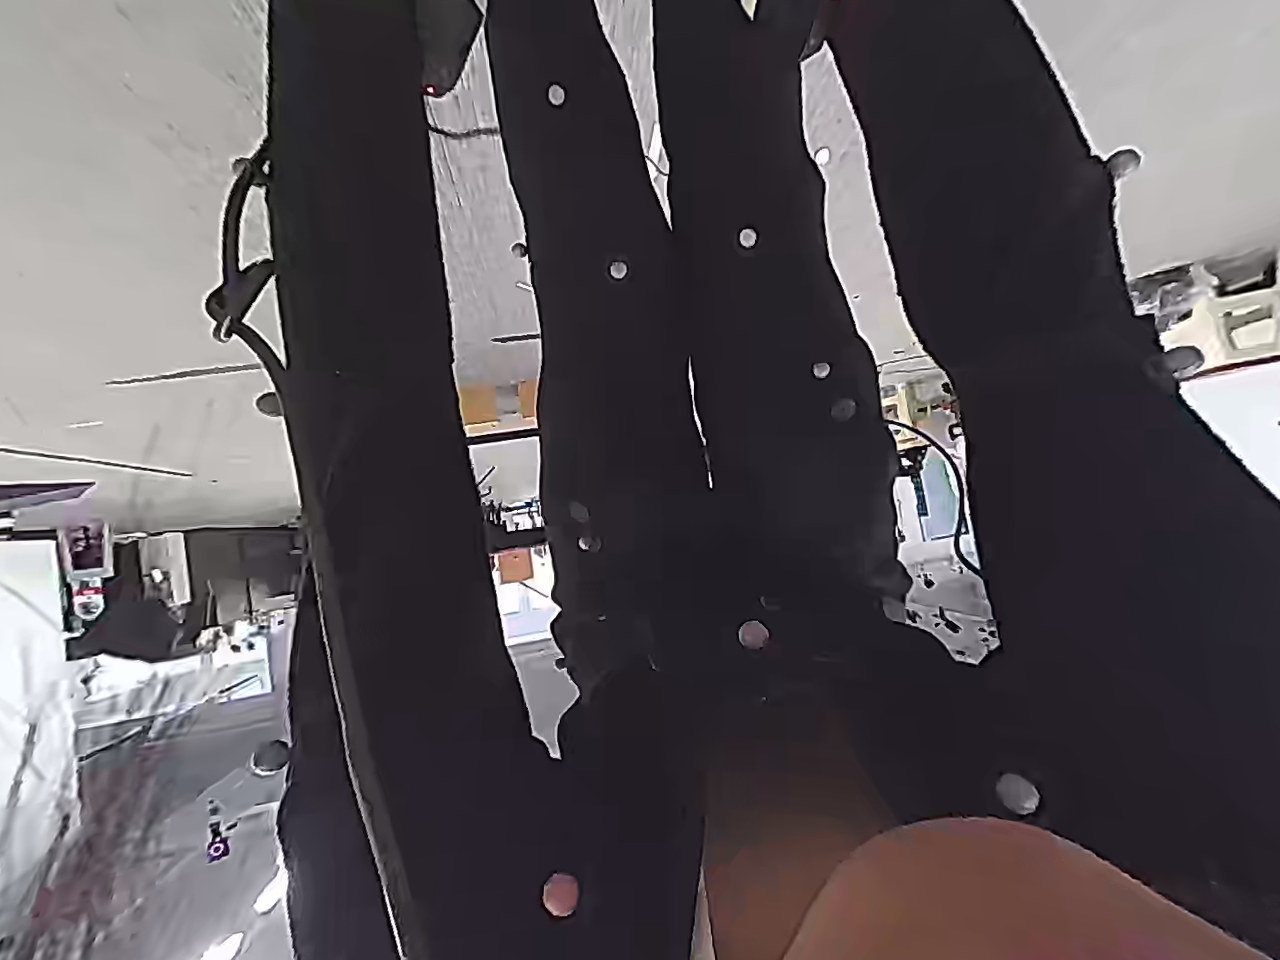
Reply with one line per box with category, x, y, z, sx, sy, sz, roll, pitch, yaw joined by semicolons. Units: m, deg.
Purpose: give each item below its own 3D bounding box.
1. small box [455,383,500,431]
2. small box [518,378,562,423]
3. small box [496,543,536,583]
small box;-0.734;-0.329;2.437;0.179;0.176;0.168;-8;176;-13
small box;-0.463;-0.370;2.506;0.179;0.176;0.168;-8;175;-11
small box;-0.624;0.410;2.702;0.168;0.176;0.179;-8;176;-21
